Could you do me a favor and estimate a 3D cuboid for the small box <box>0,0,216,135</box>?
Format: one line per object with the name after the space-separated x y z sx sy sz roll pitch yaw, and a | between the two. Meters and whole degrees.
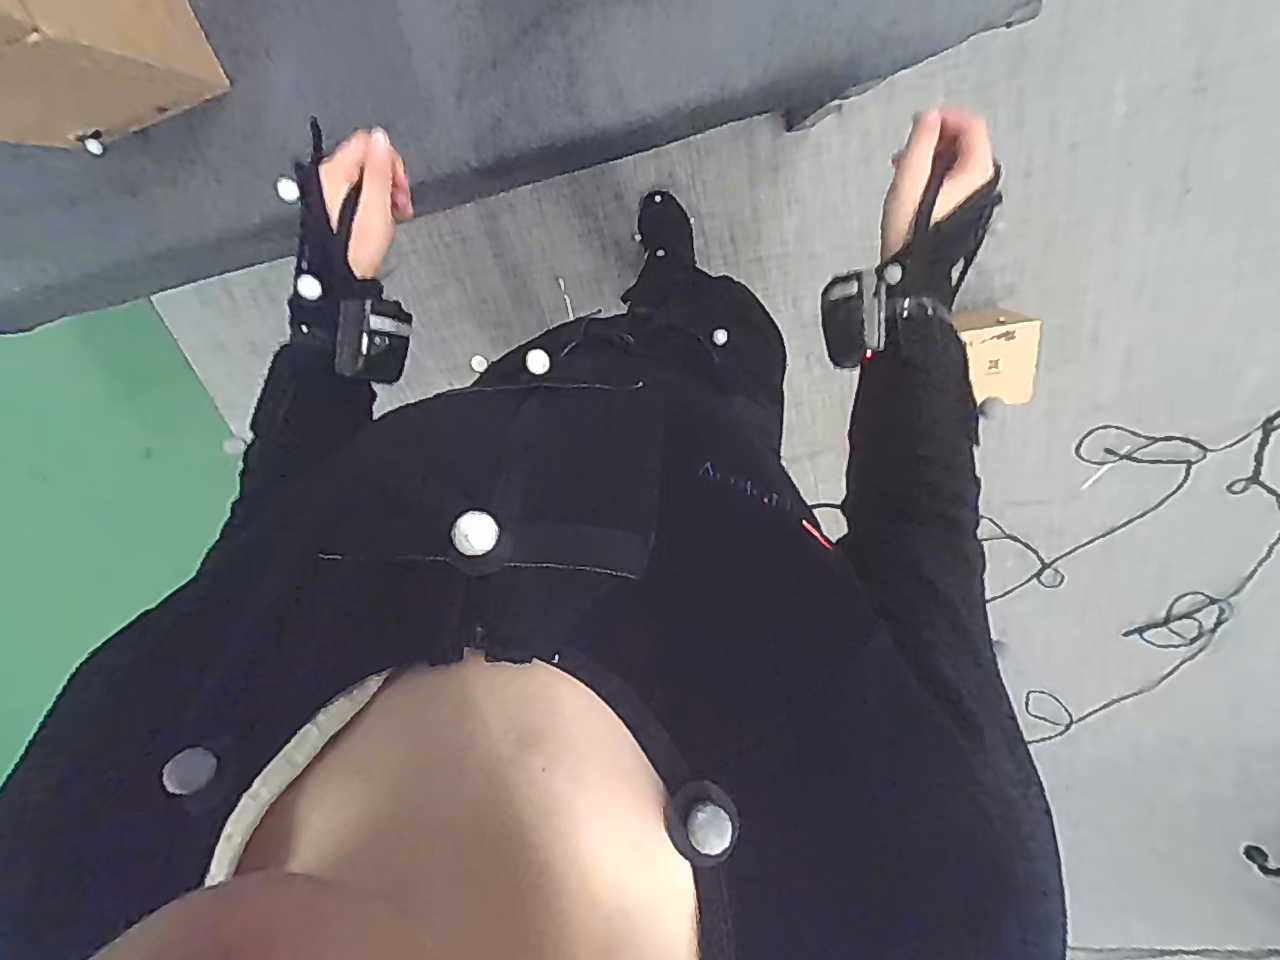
-0.471 -0.372 0.389 0.168 0.176 0.179 -14 114 10 | small box

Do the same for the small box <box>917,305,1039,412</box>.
0.721 -0.266 1.177 0.168 0.176 0.179 -7 117 8 | small box
